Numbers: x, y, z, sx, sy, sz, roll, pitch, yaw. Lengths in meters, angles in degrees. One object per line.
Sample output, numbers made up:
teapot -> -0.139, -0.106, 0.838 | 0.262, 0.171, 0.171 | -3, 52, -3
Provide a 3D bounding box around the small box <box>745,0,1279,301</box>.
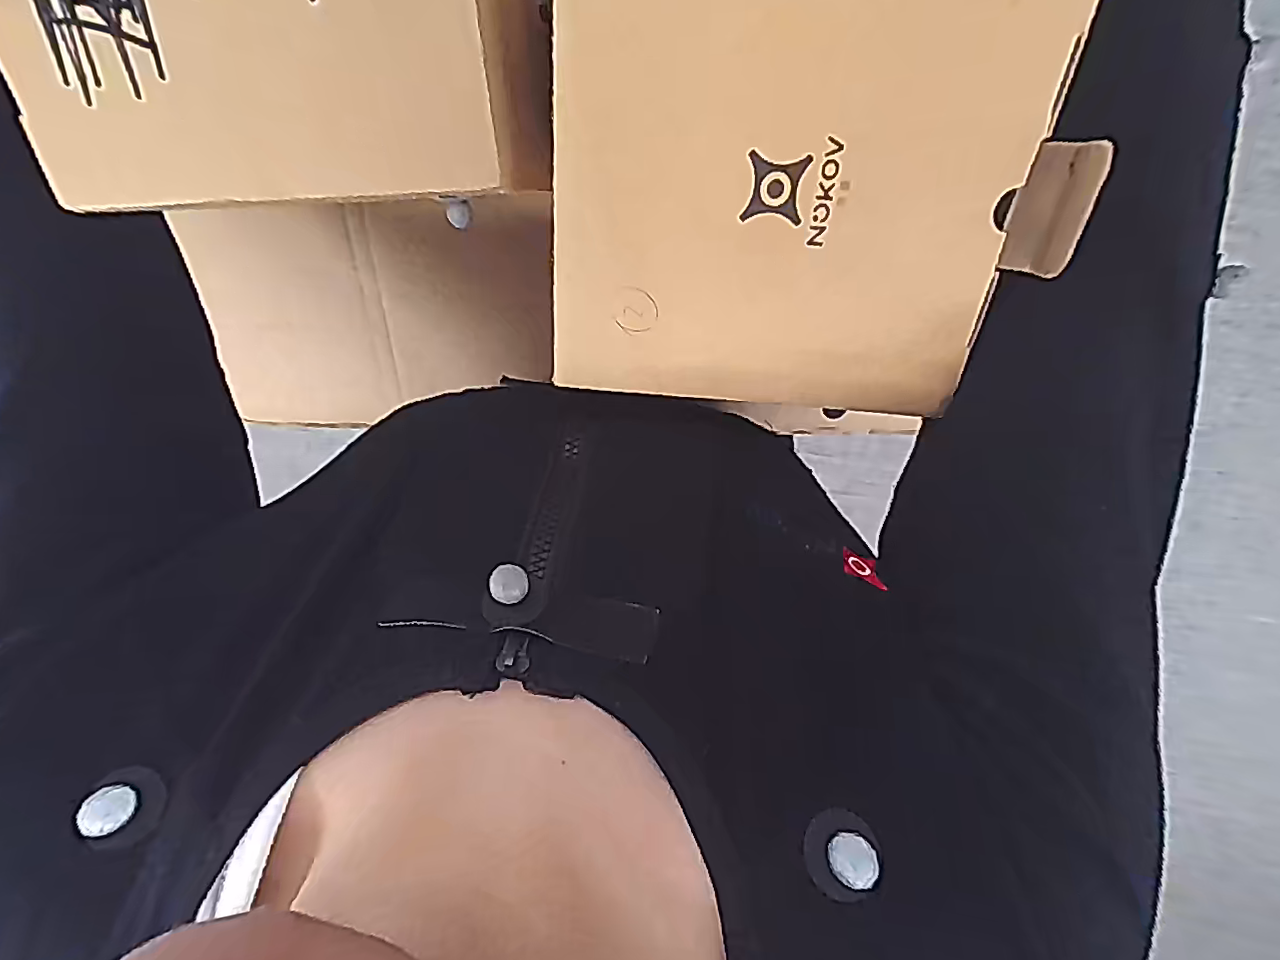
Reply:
small box -> 0.160, -0.195, 0.224 | 0.179, 0.176, 0.168 | 16, 124, -7
